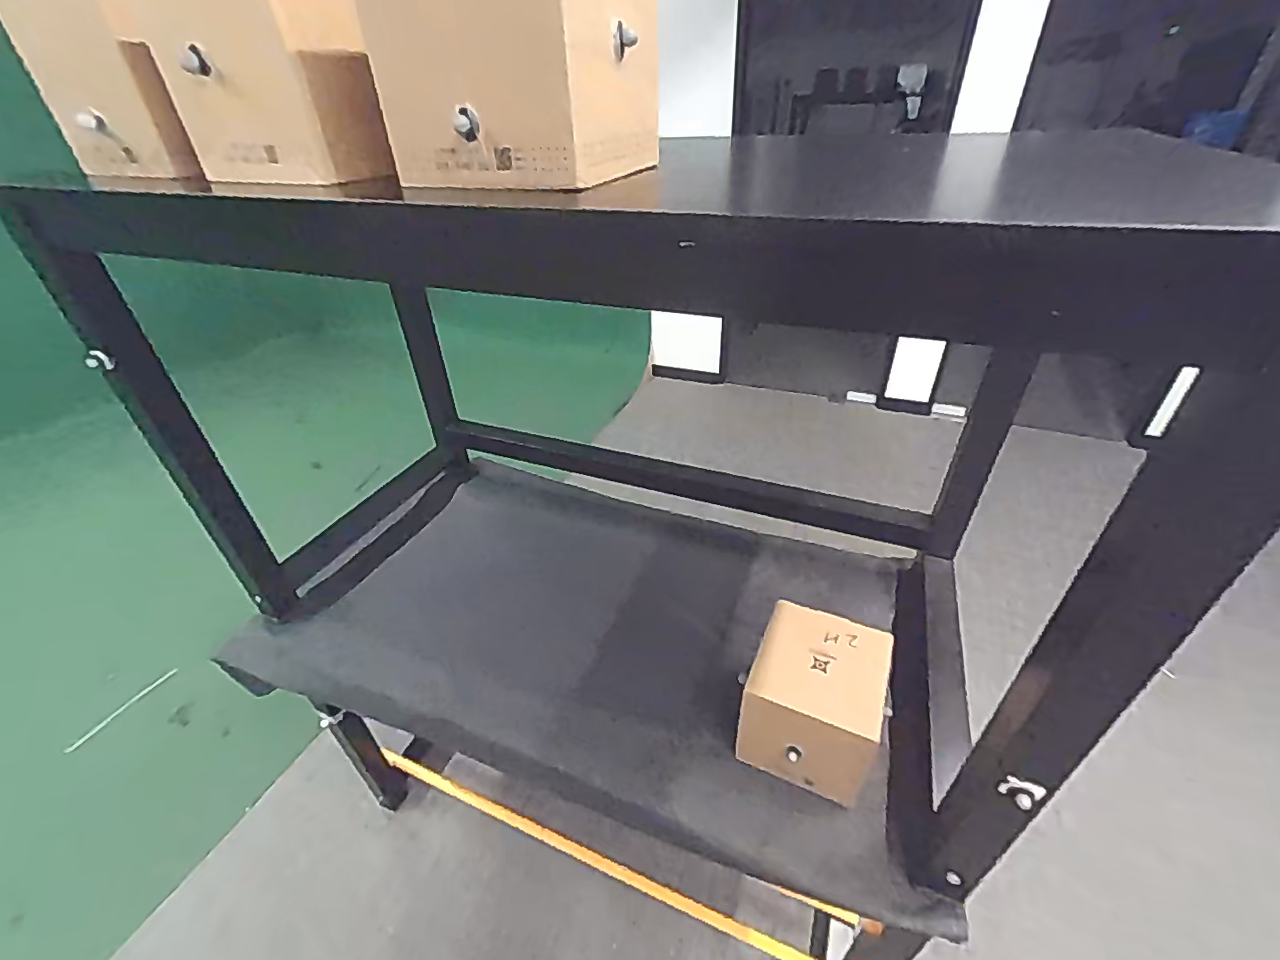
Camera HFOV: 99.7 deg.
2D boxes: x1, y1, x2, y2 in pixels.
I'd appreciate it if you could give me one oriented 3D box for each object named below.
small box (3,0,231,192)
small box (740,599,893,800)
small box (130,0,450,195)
[{"bbox_3d":[-0.512,-0.432,0.603,0.168,0.176,0.179,13,39,20],"label":"small box"},{"bbox_3d":[0.246,0.309,0.769,0.168,0.176,0.179,15,38,23],"label":"small box"},{"bbox_3d":[-0.311,-0.377,0.517,0.168,0.176,0.179,13,38,21],"label":"small box"}]
